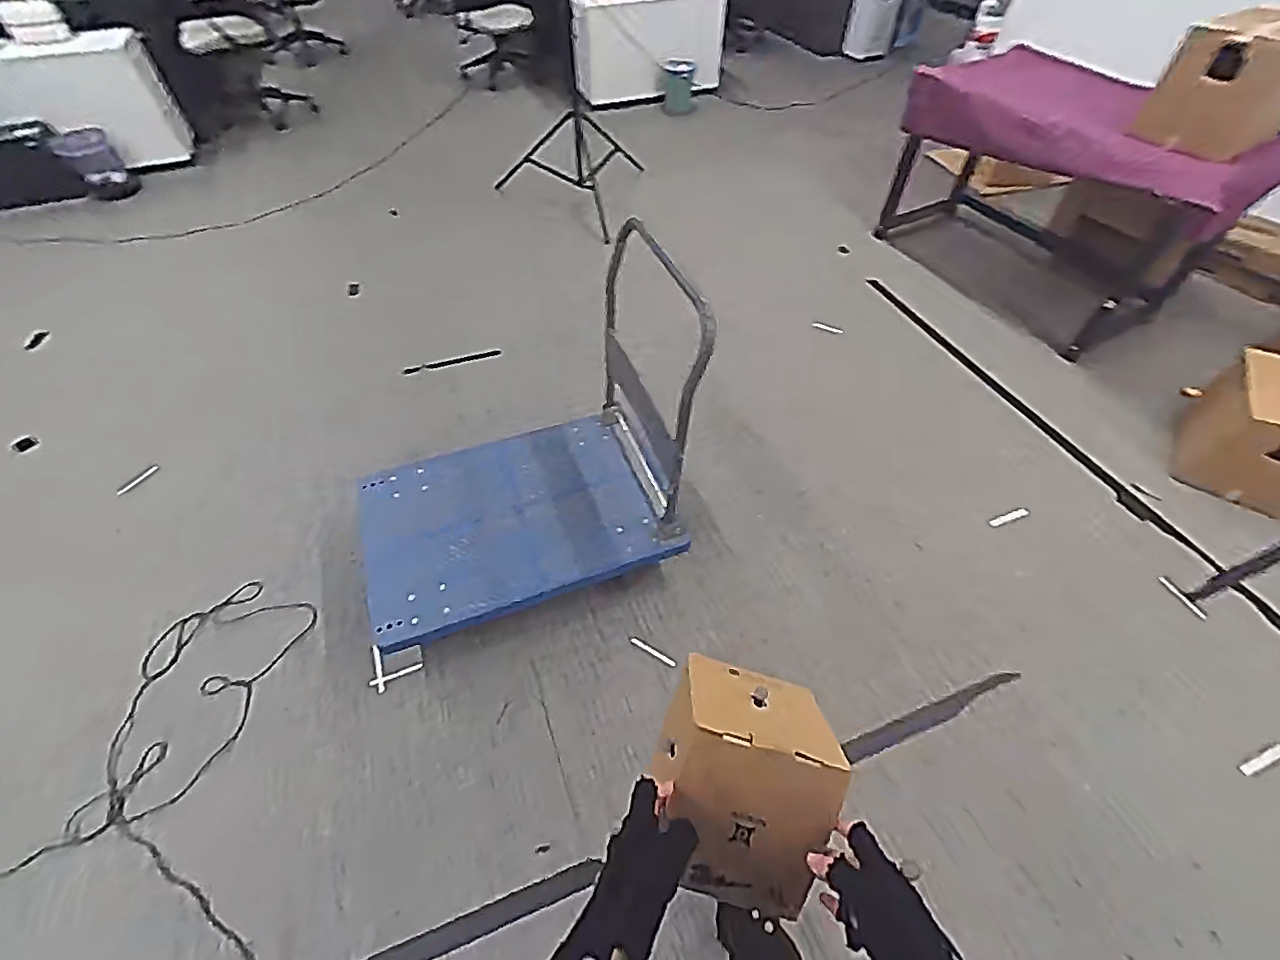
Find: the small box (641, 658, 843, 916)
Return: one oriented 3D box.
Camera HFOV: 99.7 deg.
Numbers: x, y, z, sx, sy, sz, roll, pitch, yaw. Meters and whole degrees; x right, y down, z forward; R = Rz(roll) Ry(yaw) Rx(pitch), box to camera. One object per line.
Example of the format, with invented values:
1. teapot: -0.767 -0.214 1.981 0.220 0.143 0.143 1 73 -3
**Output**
1. small box: 0.103 0.332 0.622 0.168 0.176 0.179 16 96 1
